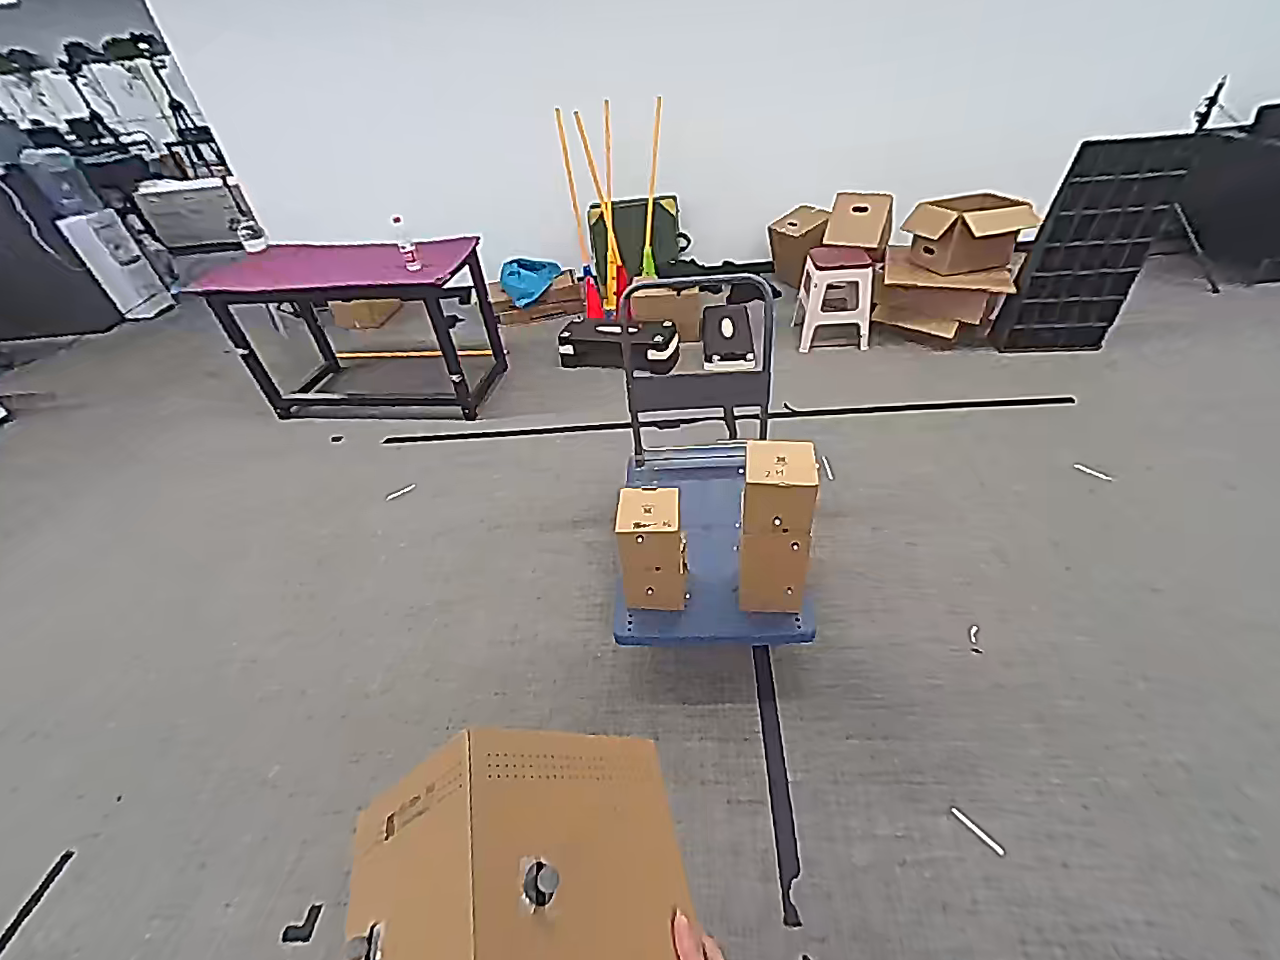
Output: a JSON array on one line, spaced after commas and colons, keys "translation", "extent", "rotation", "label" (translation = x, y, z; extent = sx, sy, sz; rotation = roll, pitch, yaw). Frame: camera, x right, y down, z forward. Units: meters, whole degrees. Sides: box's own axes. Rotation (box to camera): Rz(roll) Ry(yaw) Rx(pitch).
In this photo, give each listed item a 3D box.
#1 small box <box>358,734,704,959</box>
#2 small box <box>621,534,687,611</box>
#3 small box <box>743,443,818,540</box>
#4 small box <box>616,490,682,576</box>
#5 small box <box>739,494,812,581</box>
[{"translation": [-0.084, 0.299, 0.387], "extent": [0.168, 0.179, 0.176], "rotation": [-42, 43, 26], "label": "small box"}, {"translation": [0.048, 0.273, 1.609], "extent": [0.179, 0.176, 0.168], "rotation": [0, 40, 9], "label": "small box"}, {"translation": [0.346, 0.026, 1.355], "extent": [0.168, 0.176, 0.179], "rotation": [3, 40, 10], "label": "small box"}, {"translation": [0.030, 0.146, 1.506], "extent": [0.168, 0.176, 0.179], "rotation": [-1, 39, 6], "label": "small box"}, {"translation": [0.358, 0.155, 1.458], "extent": [0.179, 0.176, 0.168], "rotation": [2, 40, 9], "label": "small box"}]
